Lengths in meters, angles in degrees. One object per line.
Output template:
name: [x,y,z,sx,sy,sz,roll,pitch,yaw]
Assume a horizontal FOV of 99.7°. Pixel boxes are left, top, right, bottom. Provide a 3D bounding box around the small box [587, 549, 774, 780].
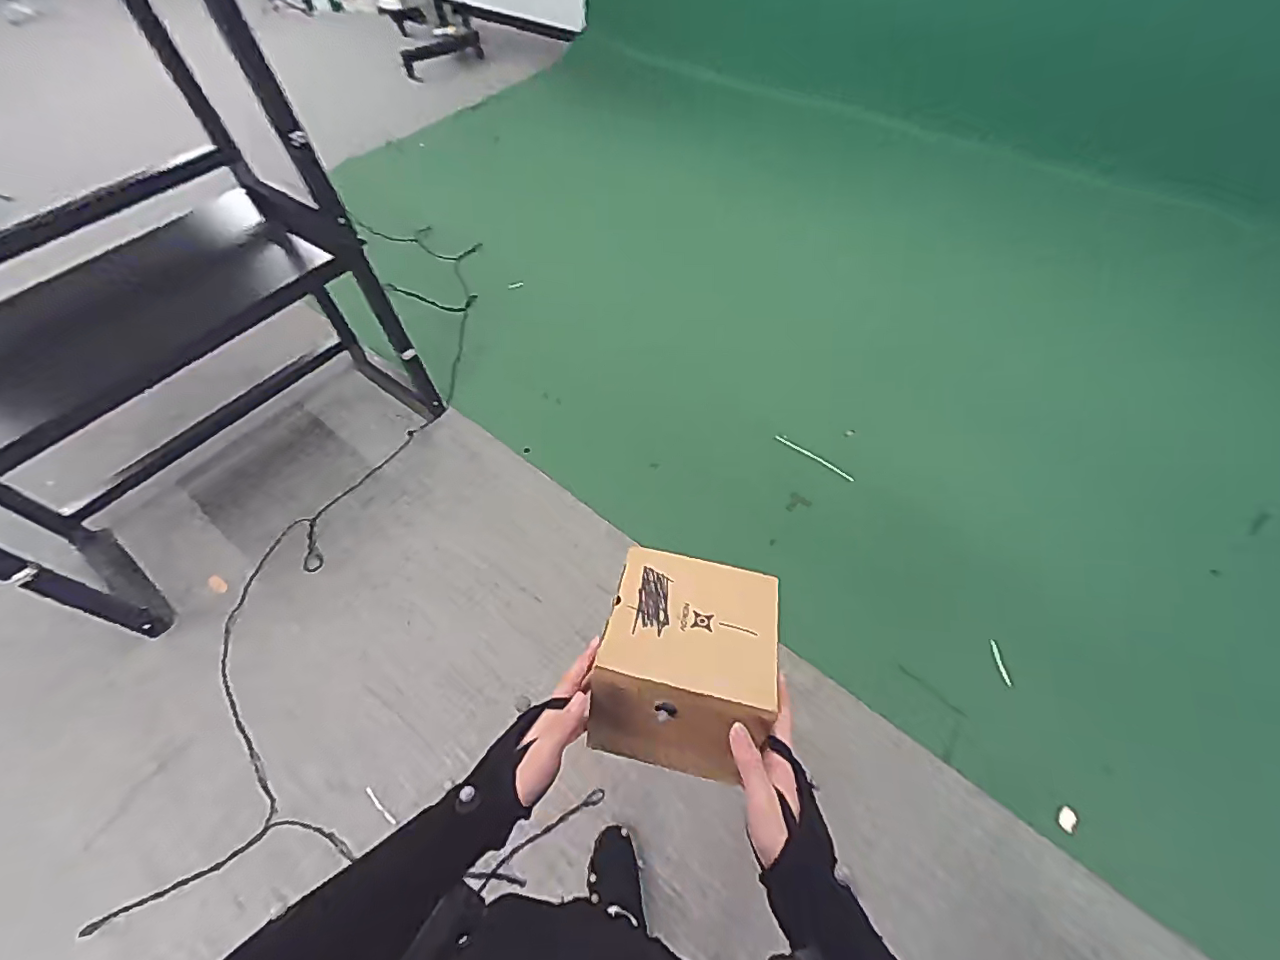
small box: [0.043,0.208,0.610,0.179,0.176,0.168,12,39,5]
